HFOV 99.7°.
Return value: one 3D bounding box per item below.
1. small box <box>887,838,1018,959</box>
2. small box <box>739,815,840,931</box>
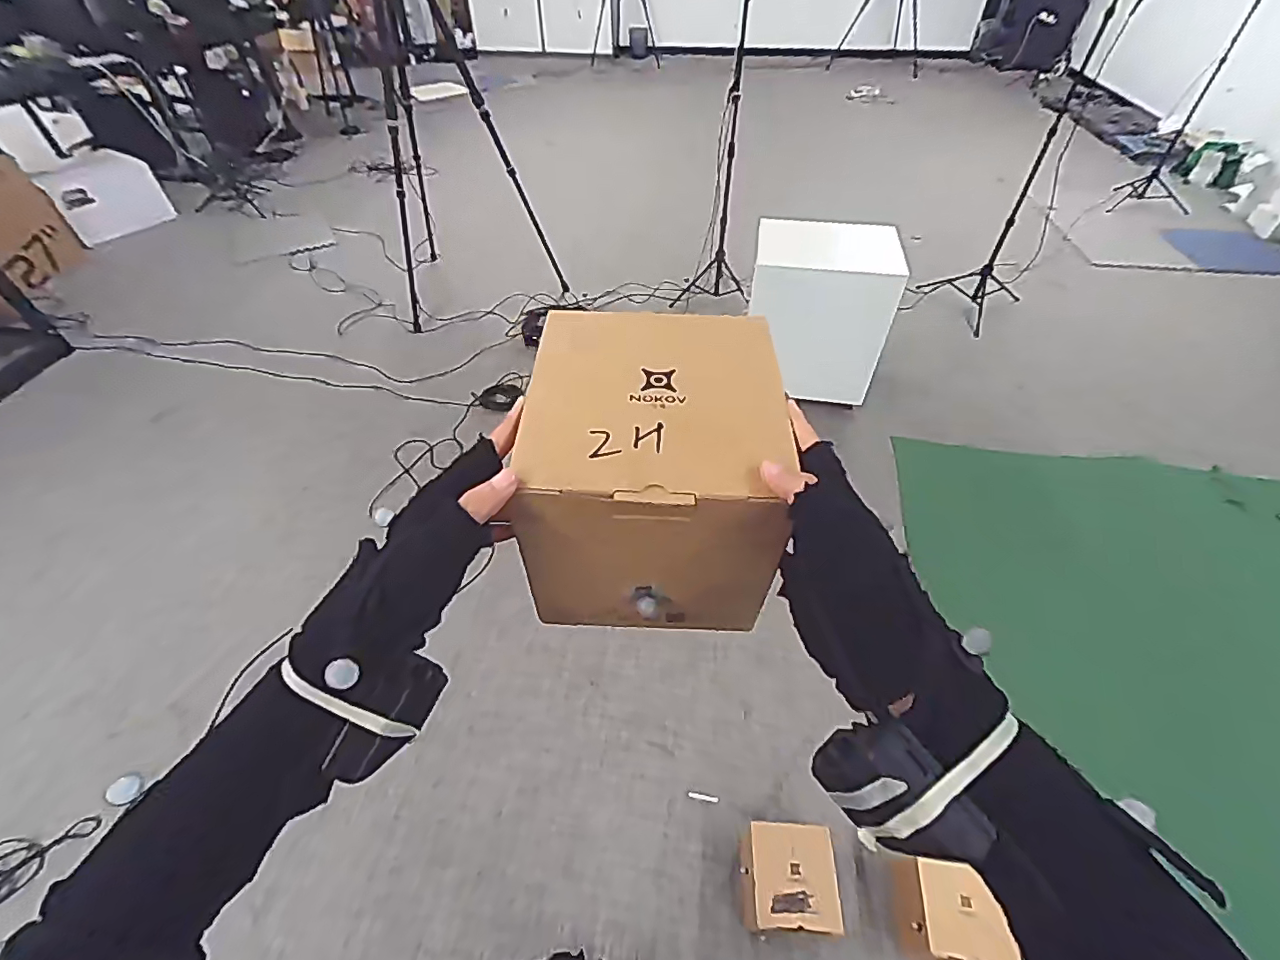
[{"bbox_3d":[0.625,0.865,1.109,0.168,0.176,0.179,6,49,7],"label":"small box"},{"bbox_3d":[0.304,0.829,1.138,0.168,0.176,0.179,3,47,2],"label":"small box"}]
